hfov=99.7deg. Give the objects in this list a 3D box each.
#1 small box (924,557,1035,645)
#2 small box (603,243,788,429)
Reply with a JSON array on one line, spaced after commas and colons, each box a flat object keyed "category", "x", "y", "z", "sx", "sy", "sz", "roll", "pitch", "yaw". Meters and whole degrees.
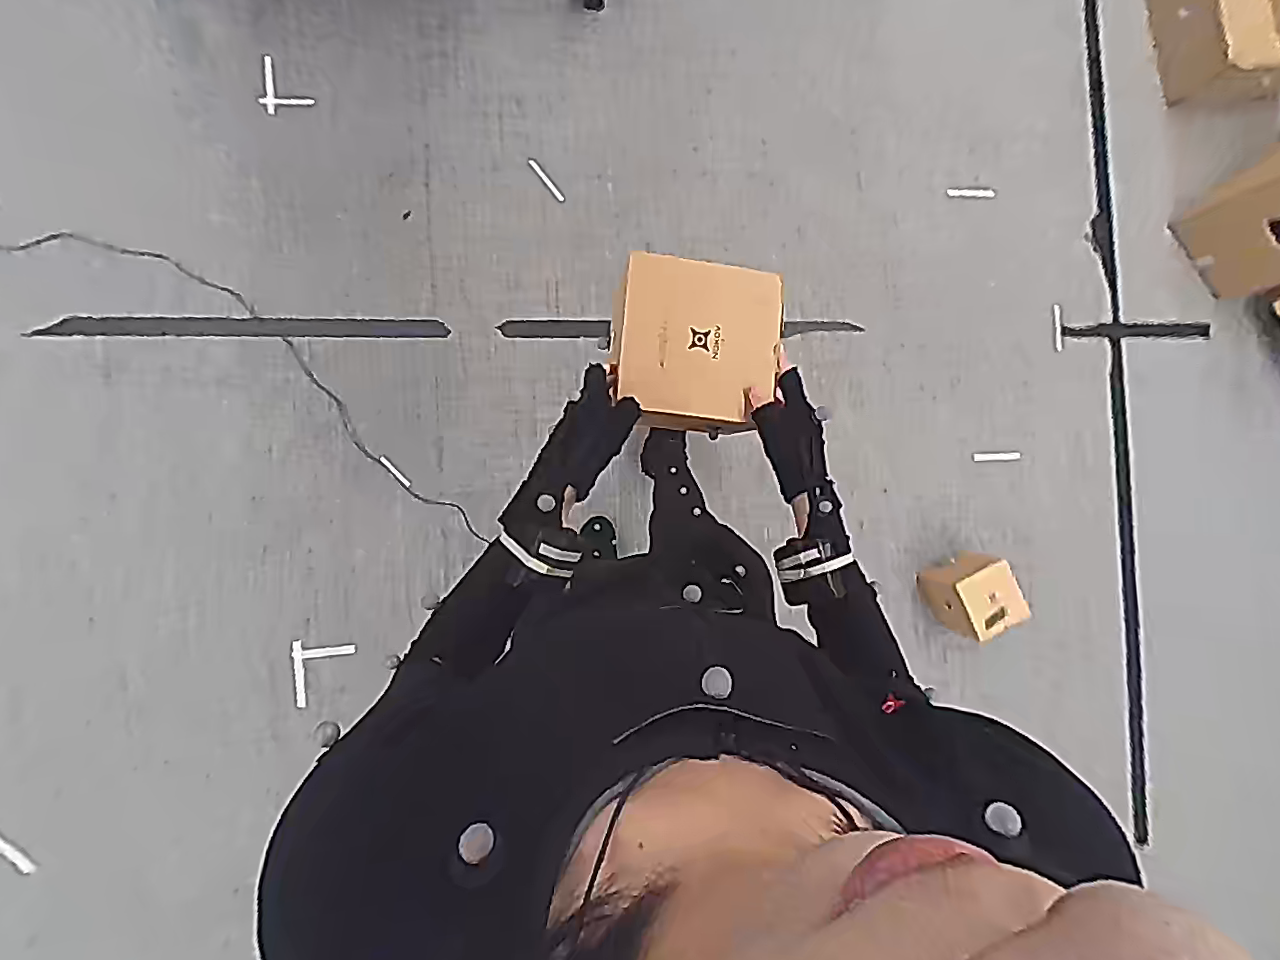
[{"category": "small box", "x": 0.946, "y": 0.332, "z": 1.521, "sx": 0.168, "sy": 0.176, "sz": 0.179, "roll": -25, "pitch": 90, "yaw": -6}, {"category": "small box", "x": 0.055, "y": -0.154, "z": 0.640, "sx": 0.179, "sy": 0.176, "sz": 0.168, "roll": 4, "pitch": 89, "yaw": -8}]
